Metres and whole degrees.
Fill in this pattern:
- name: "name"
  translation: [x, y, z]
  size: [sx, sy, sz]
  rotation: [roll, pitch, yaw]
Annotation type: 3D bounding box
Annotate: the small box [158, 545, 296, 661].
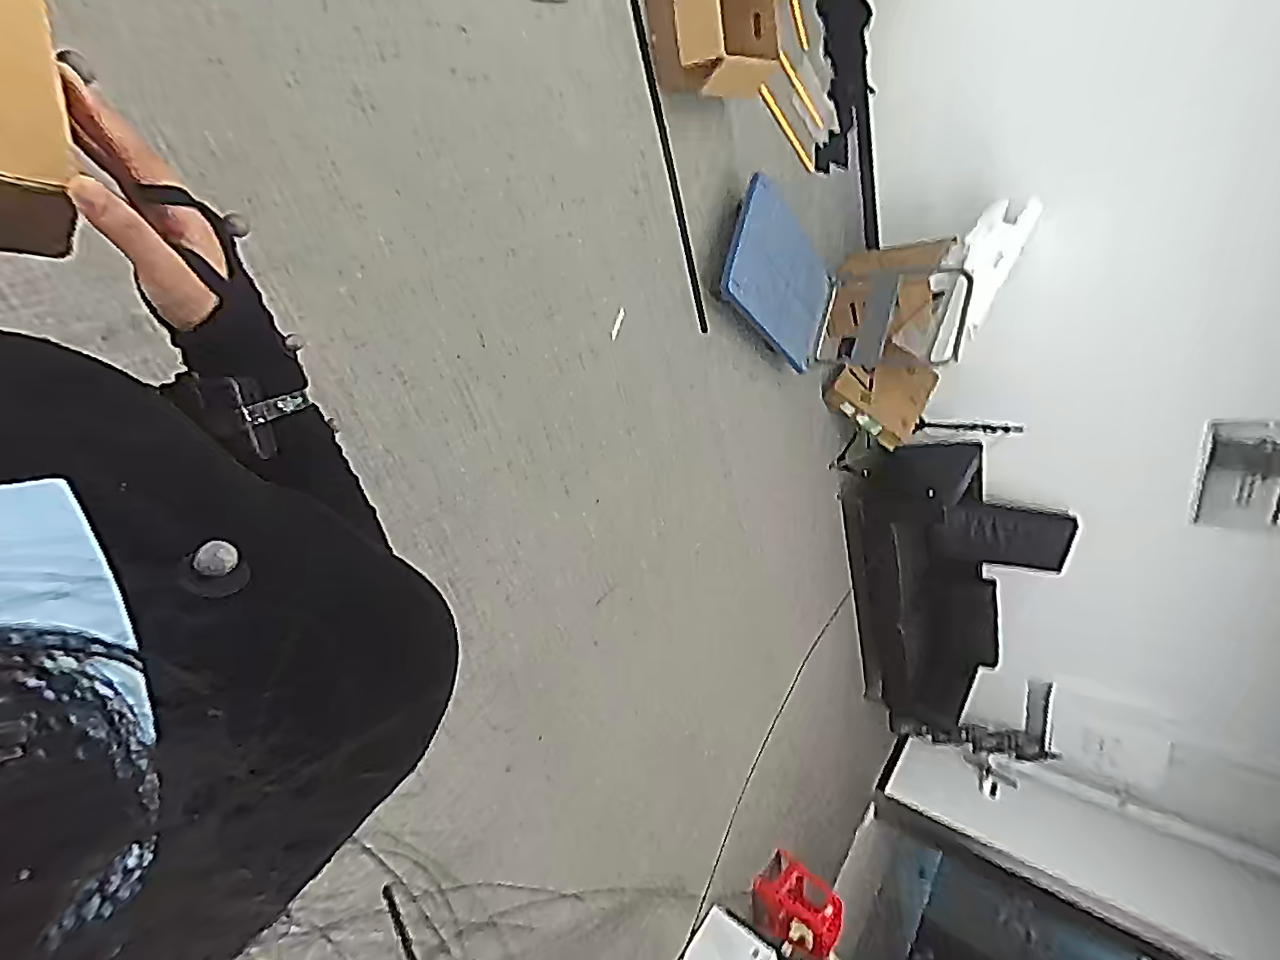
- name: "small box"
  translation: [-0.917, 0.261, 1.200]
  size: [0.168, 0.176, 0.179]
  rotation: [-42, 126, -34]
